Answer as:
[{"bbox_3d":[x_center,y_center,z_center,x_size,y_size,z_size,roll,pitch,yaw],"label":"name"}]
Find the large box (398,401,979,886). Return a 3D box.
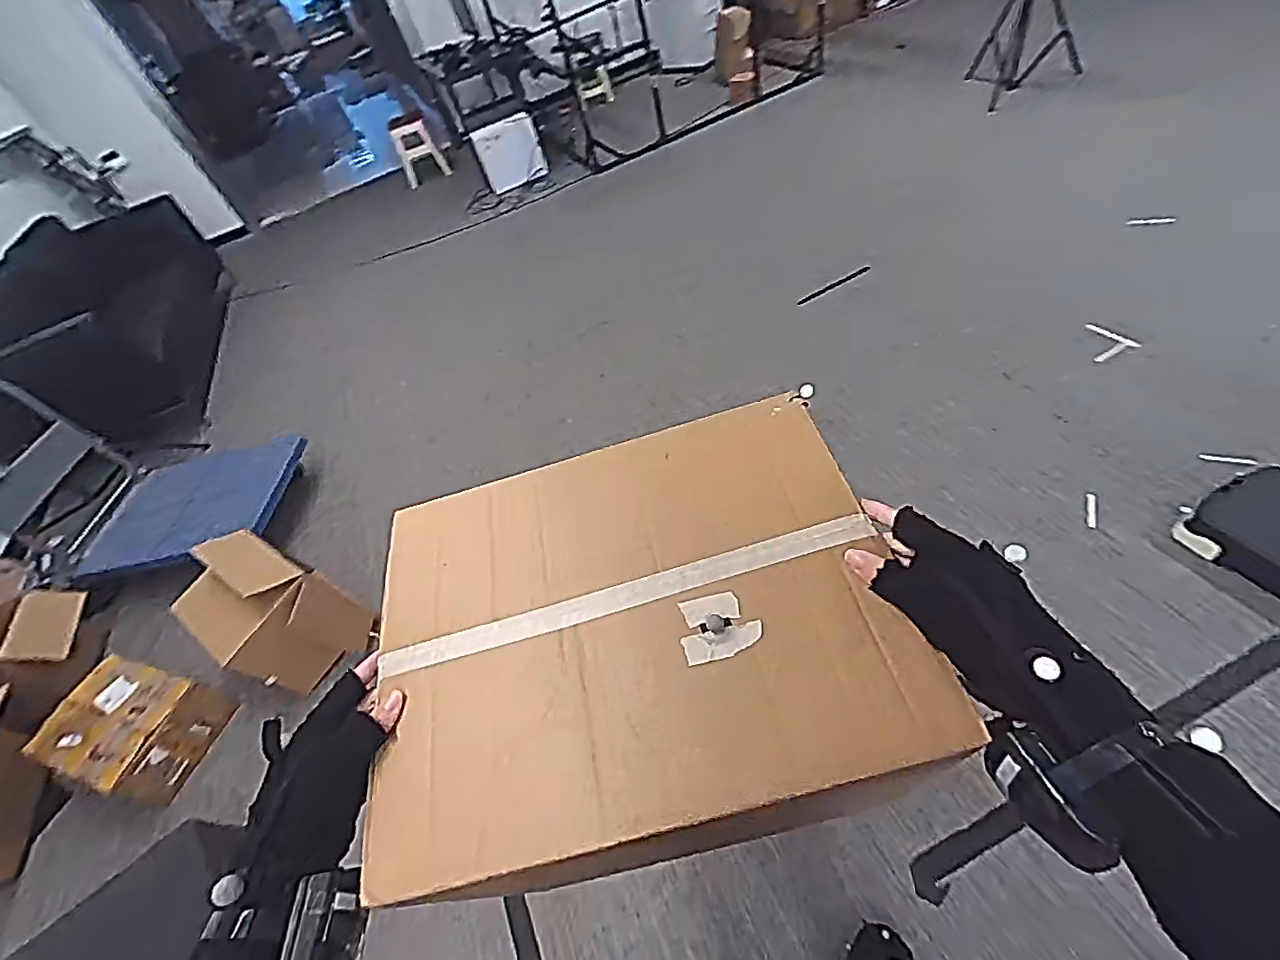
[{"bbox_3d":[0.028,0.181,0.557,0.408,0.320,0.320,-16,53,3],"label":"large box"}]
